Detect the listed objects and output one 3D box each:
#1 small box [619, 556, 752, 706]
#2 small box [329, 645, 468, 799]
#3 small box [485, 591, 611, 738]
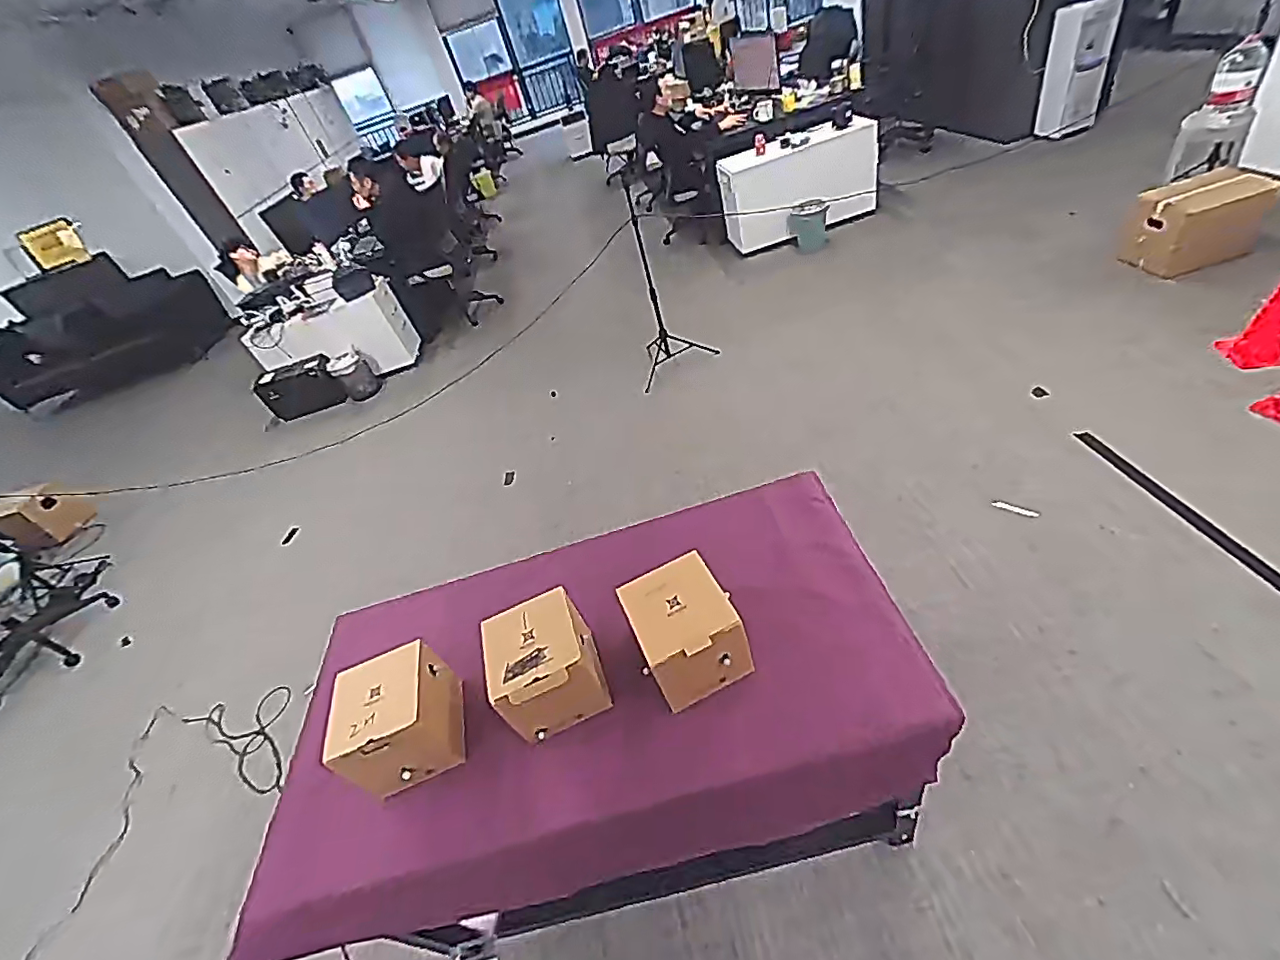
[{"bbox_3d":[0.084,0.276,0.971,0.168,0.176,0.179,-25,40,-6],"label":"small box"},{"bbox_3d":[-0.433,0.445,0.996,0.168,0.176,0.179,-23,40,-3],"label":"small box"},{"bbox_3d":[-0.167,0.347,0.996,0.168,0.176,0.179,-24,39,-4],"label":"small box"}]
